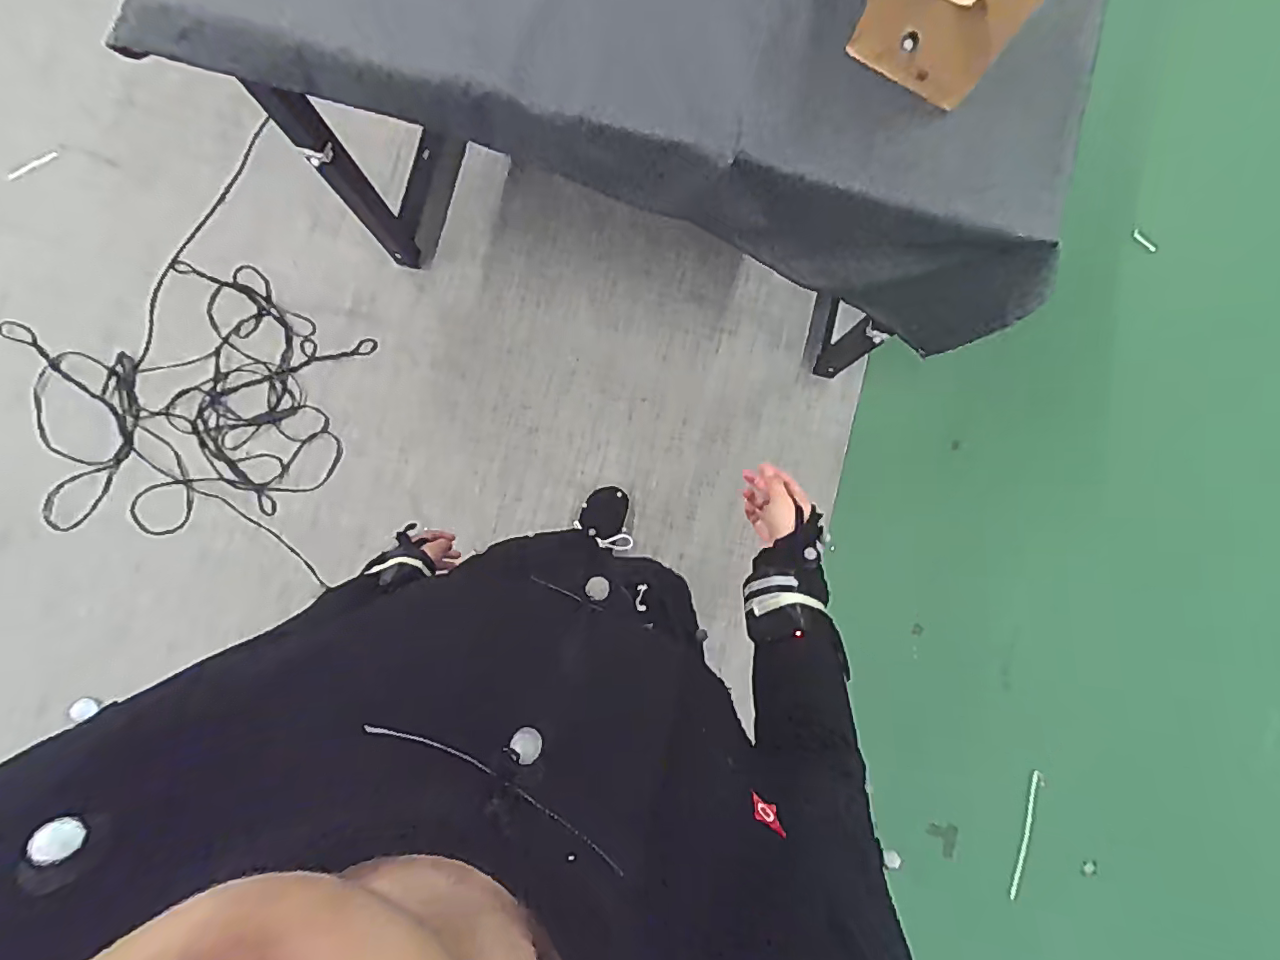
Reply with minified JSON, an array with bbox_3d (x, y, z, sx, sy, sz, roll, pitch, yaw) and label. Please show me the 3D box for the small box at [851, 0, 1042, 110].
[{"bbox_3d":[0.381,-0.600,0.636,0.168,0.176,0.179,30,85,0],"label":"small box"}]
